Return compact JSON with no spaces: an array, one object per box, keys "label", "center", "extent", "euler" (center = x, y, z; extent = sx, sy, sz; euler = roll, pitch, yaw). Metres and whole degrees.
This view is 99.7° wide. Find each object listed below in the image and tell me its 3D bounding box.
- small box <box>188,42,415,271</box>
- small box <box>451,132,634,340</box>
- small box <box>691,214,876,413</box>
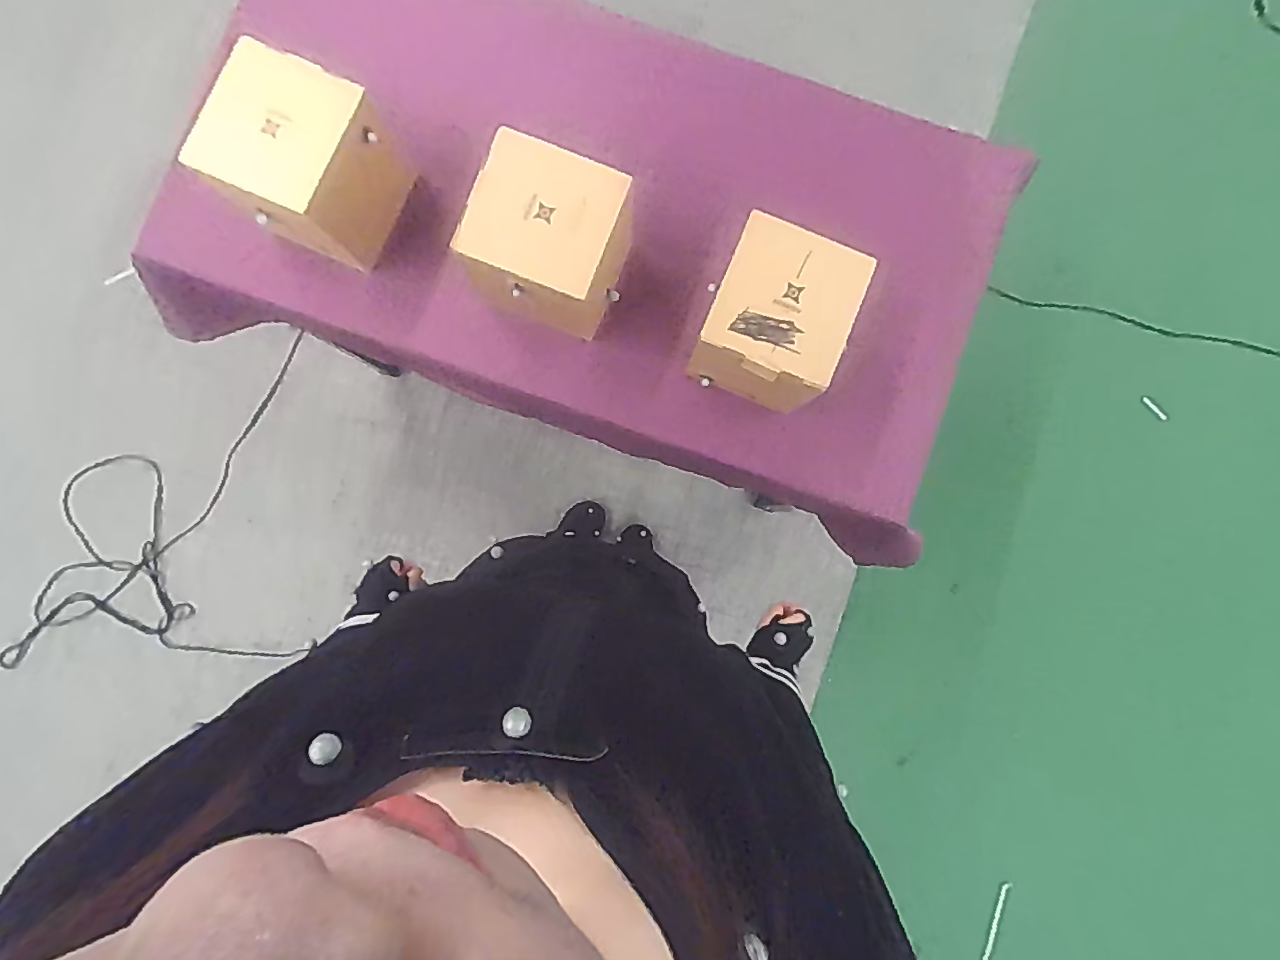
[{"label":"small box","center":[-0.435,-0.417,0.730],"extent":[0.168,0.176,0.179],"euler":[24,85,0]},{"label":"small box","center":[-0.118,-0.311,0.729],"extent":[0.179,0.176,0.168],"euler":[22,87,0]},{"label":"small box","center":[0.176,-0.206,0.725],"extent":[0.168,0.176,0.179],"euler":[23,85,0]}]
